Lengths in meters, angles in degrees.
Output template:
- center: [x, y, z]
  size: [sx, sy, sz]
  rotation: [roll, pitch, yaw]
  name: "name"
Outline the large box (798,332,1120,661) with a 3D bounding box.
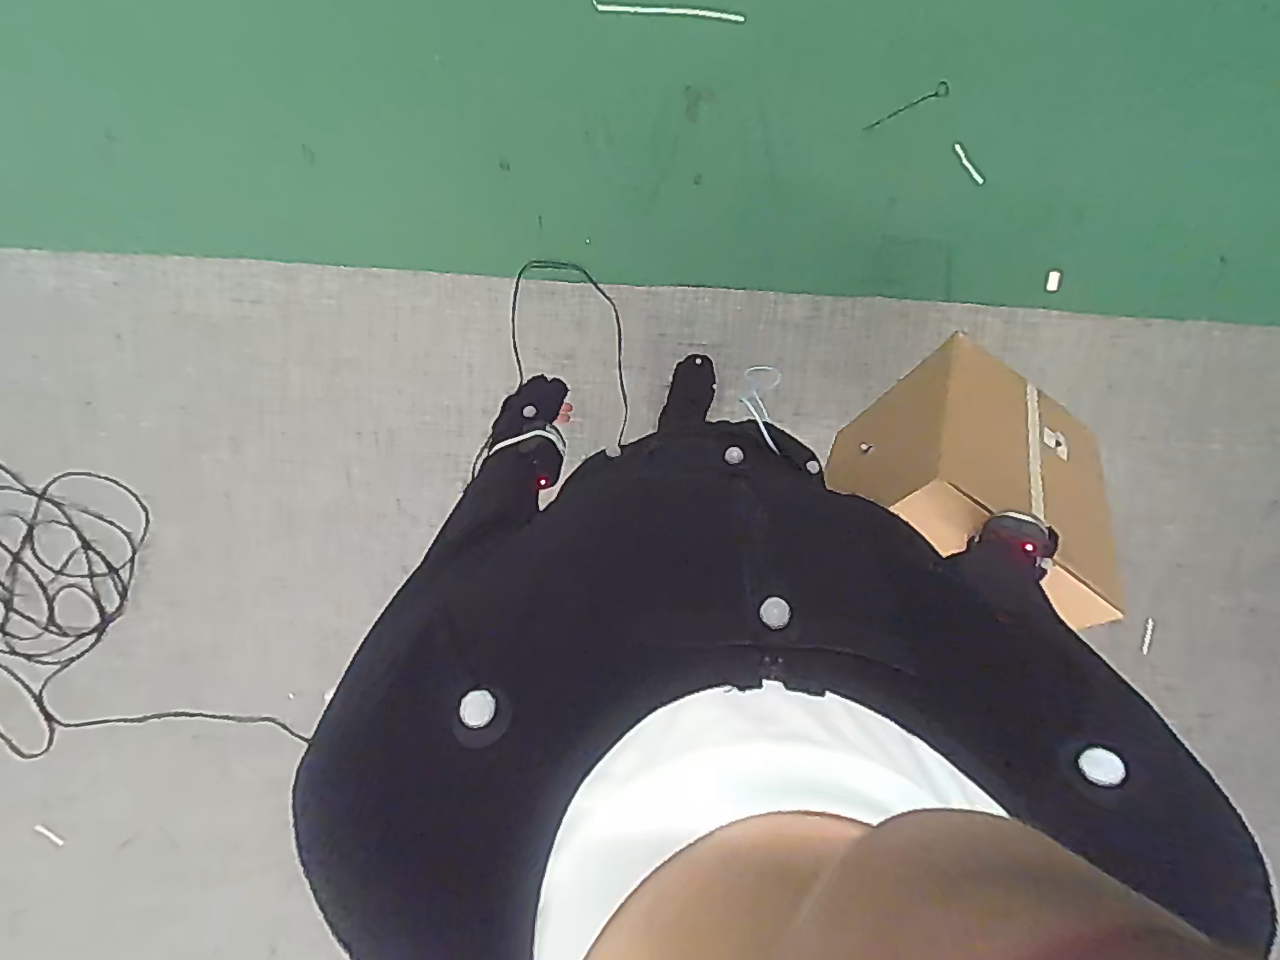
- center: [0.523, 0.031, 0.936]
  size: [0.320, 0.408, 0.320]
  rotation: [36, 140, -3]
  name: "large box"
